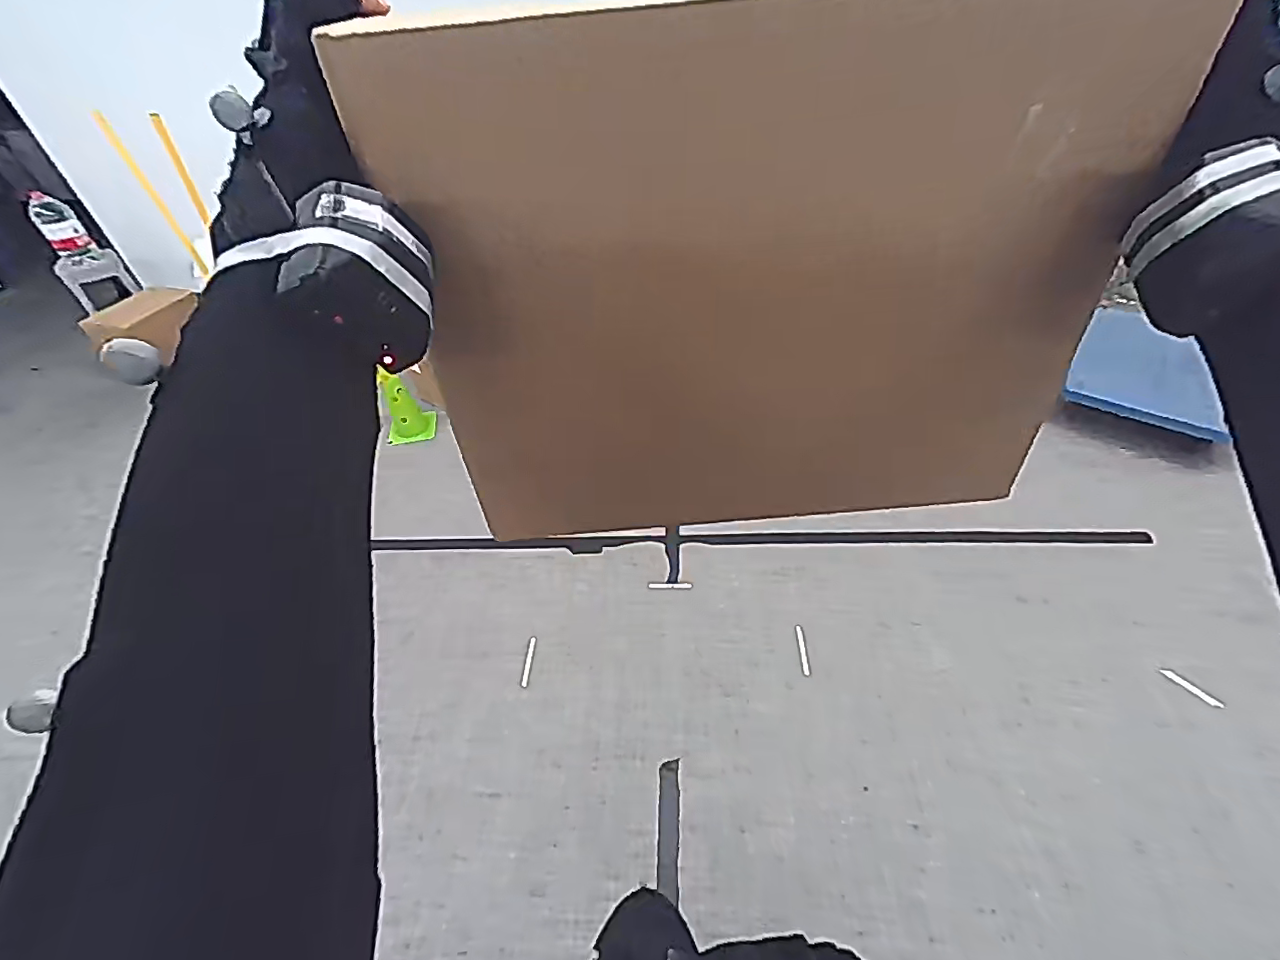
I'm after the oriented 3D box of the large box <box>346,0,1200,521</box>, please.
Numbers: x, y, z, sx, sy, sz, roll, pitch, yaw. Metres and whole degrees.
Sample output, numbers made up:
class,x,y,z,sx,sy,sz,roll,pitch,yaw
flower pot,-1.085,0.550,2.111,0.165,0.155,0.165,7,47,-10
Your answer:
class,x,y,z,sx,sy,sz,roll,pitch,yaw
large box,0.064,-0.190,0.449,0.408,0.320,0.320,-4,40,0
